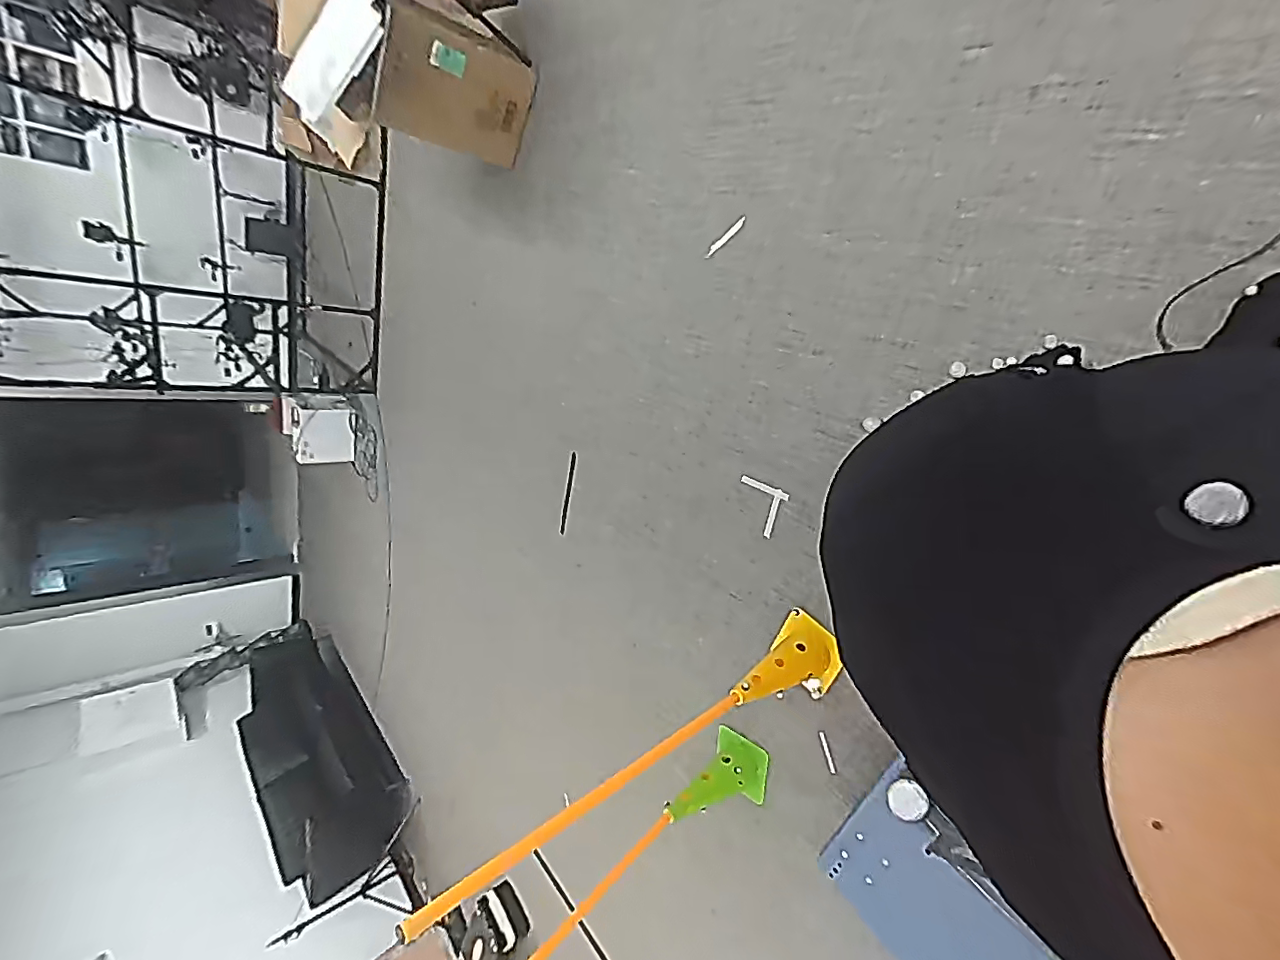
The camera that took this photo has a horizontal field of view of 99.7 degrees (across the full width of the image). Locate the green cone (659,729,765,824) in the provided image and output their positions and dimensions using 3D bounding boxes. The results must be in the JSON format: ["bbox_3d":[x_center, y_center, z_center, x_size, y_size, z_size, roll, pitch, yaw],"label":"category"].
[{"bbox_3d":[0.200,0.967,1.678,0.200,0.368,0.202,13,103,45],"label":"green cone"}]
